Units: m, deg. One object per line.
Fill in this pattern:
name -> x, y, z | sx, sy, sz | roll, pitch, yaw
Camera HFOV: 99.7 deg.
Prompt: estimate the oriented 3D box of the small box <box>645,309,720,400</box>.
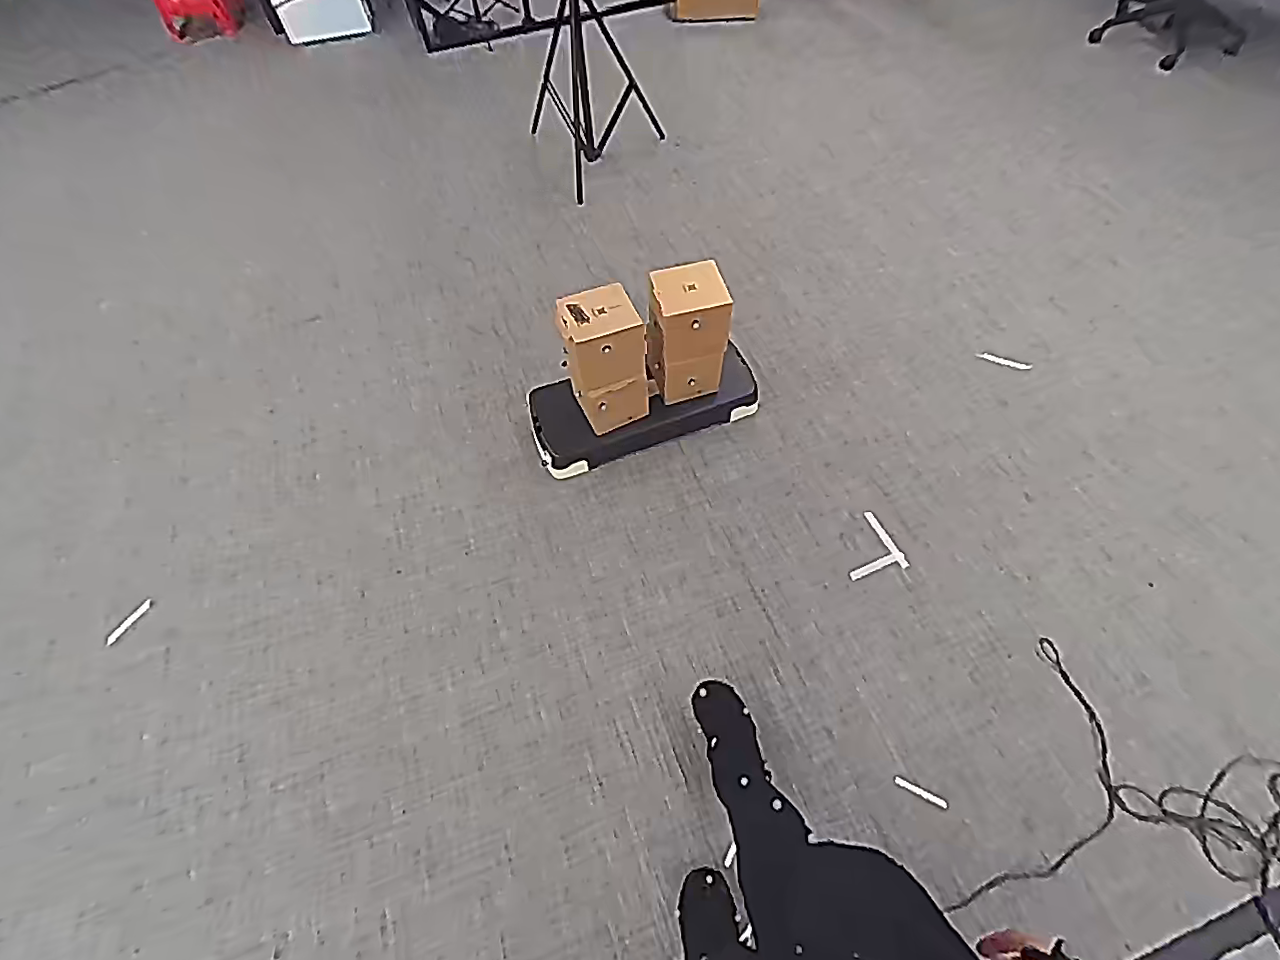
small box -> 0.120, -0.348, 1.539 | 0.168, 0.176, 0.179 | -16, 60, -6
